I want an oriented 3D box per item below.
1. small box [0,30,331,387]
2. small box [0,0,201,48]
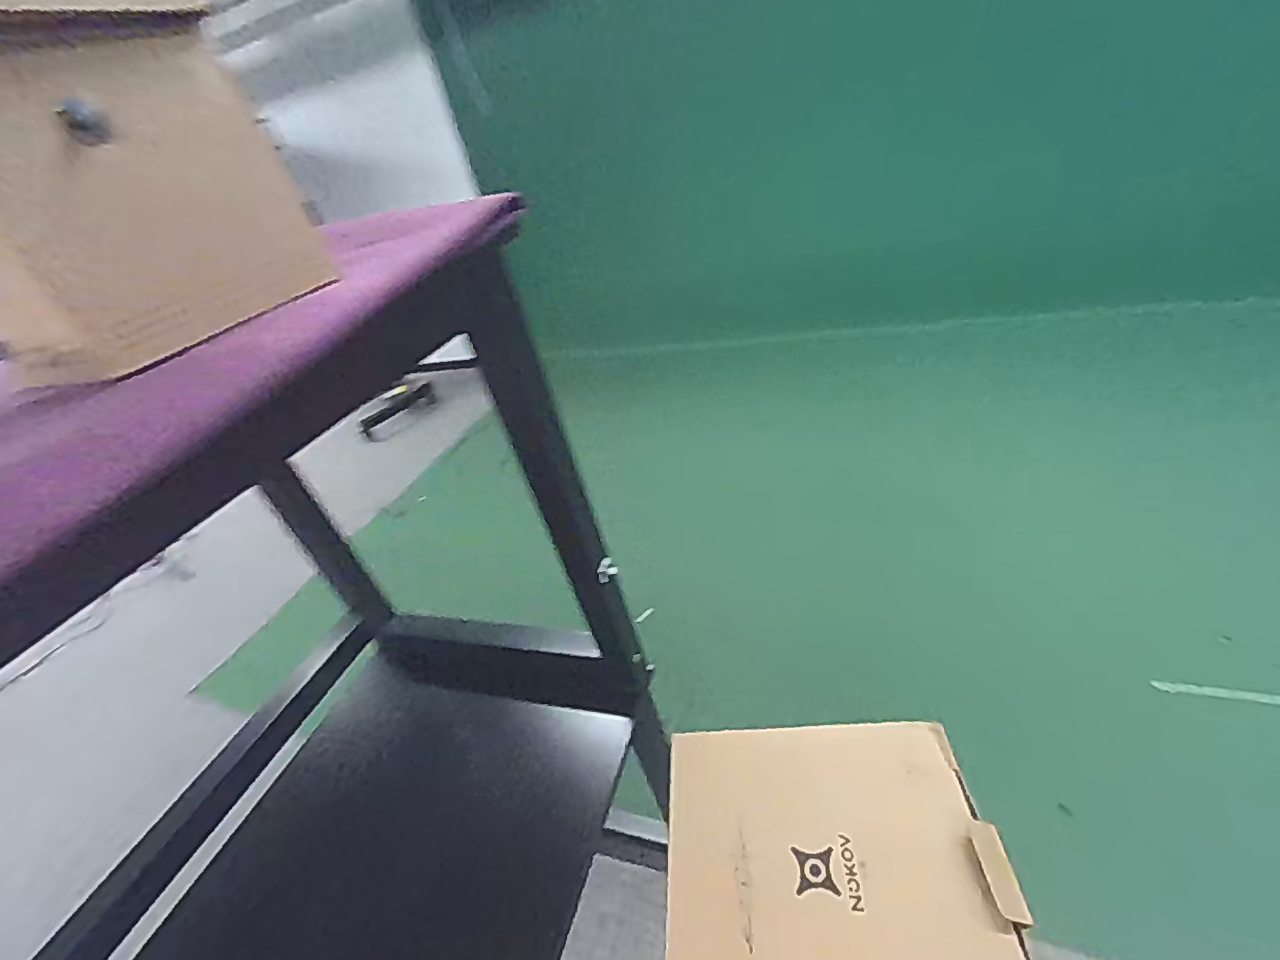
[{"bbox_3d":[-0.365,-0.173,0.370,0.168,0.176,0.179,3,39,27],"label":"small box"},{"bbox_3d":[-0.392,-0.300,0.271,0.168,0.176,0.179,0,38,24],"label":"small box"}]
